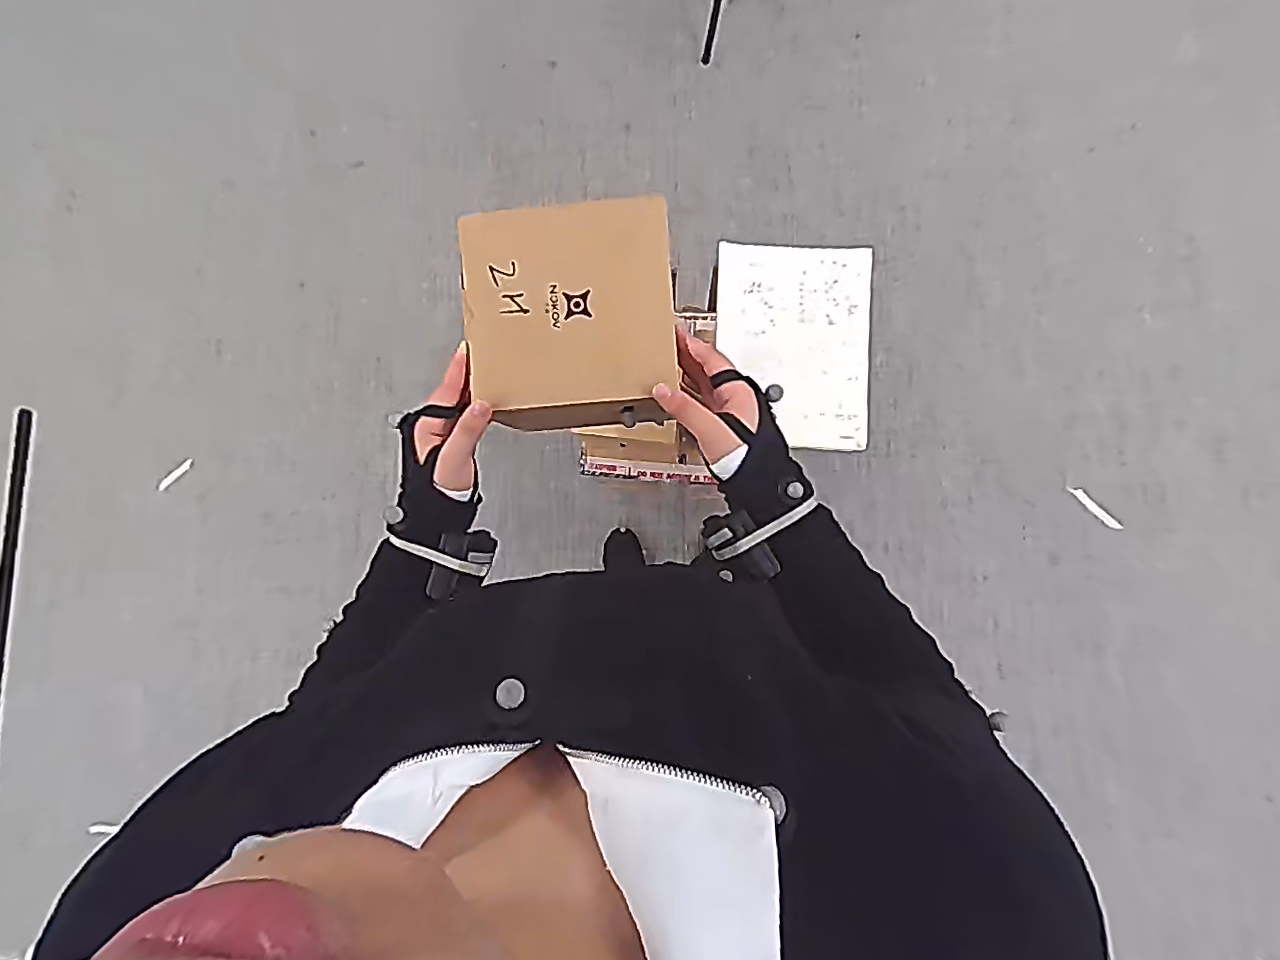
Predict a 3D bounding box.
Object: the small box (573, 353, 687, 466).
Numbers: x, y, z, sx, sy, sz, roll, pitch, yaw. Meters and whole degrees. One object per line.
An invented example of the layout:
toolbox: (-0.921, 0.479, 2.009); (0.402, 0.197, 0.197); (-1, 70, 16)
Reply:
small box: (-0.010, -0.120, 0.984); (0.179, 0.176, 0.168); (7, 87, 6)

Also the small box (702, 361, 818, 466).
small box: (0.207, -0.116, 0.971); (0.179, 0.176, 0.168); (-1, 85, 2)

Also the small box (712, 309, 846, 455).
small box: (0.197, -0.138, 0.809); (0.168, 0.176, 0.179); (1, 85, 2)
